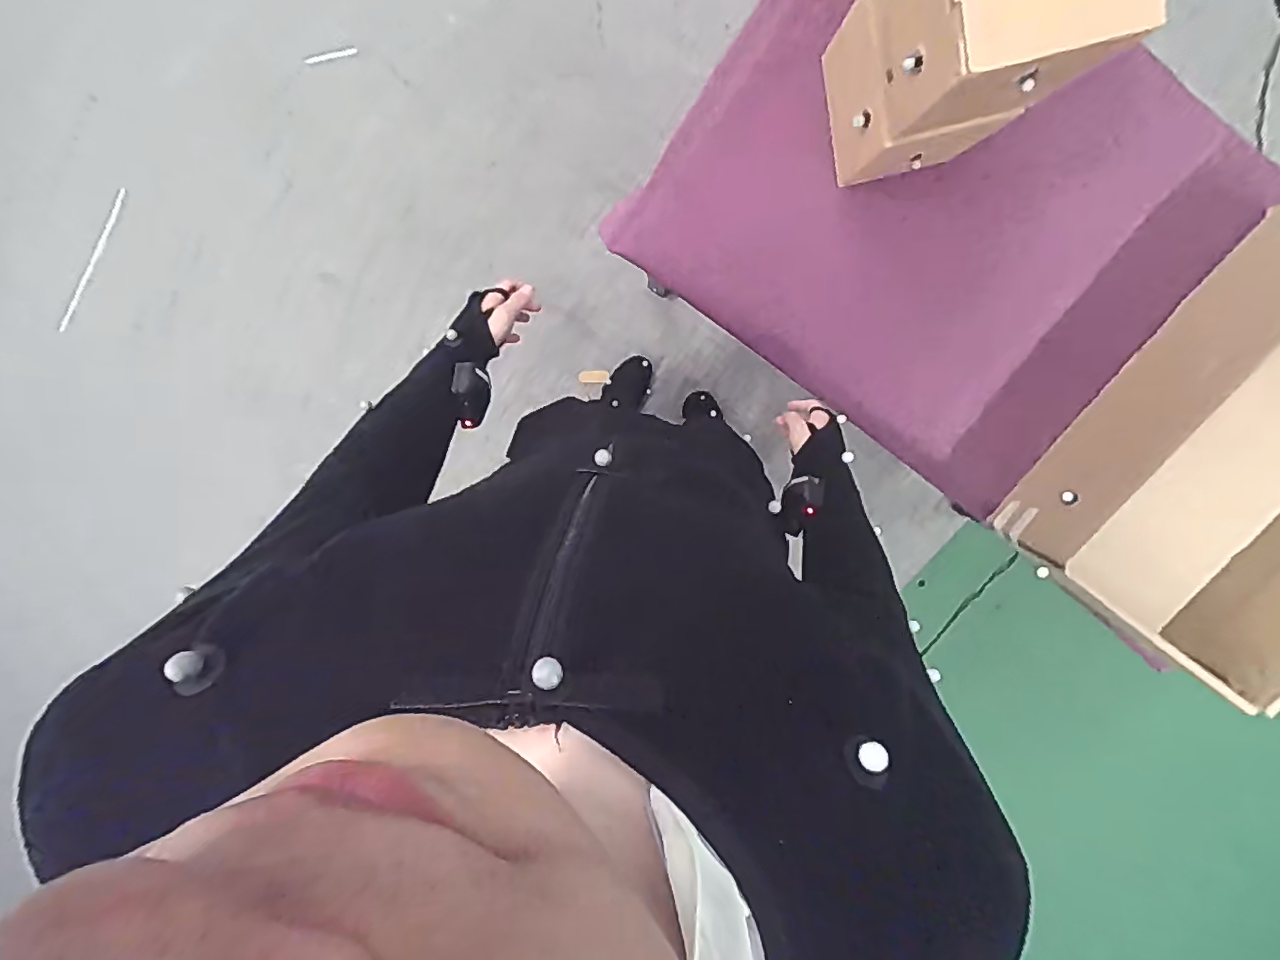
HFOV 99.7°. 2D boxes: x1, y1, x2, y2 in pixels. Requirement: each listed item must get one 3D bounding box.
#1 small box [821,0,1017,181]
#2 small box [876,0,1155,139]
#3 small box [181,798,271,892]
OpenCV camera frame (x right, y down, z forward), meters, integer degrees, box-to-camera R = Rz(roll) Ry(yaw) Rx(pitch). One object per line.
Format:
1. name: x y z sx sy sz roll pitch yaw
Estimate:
1. small box: 0.350 -0.511 0.702 0.168 0.176 0.179 -12 103 3
2. small box: 0.355 -0.474 0.543 0.179 0.176 0.168 -12 104 3
3. small box: -1.175 1.036 1.500 0.168 0.176 0.179 42 99 -8
